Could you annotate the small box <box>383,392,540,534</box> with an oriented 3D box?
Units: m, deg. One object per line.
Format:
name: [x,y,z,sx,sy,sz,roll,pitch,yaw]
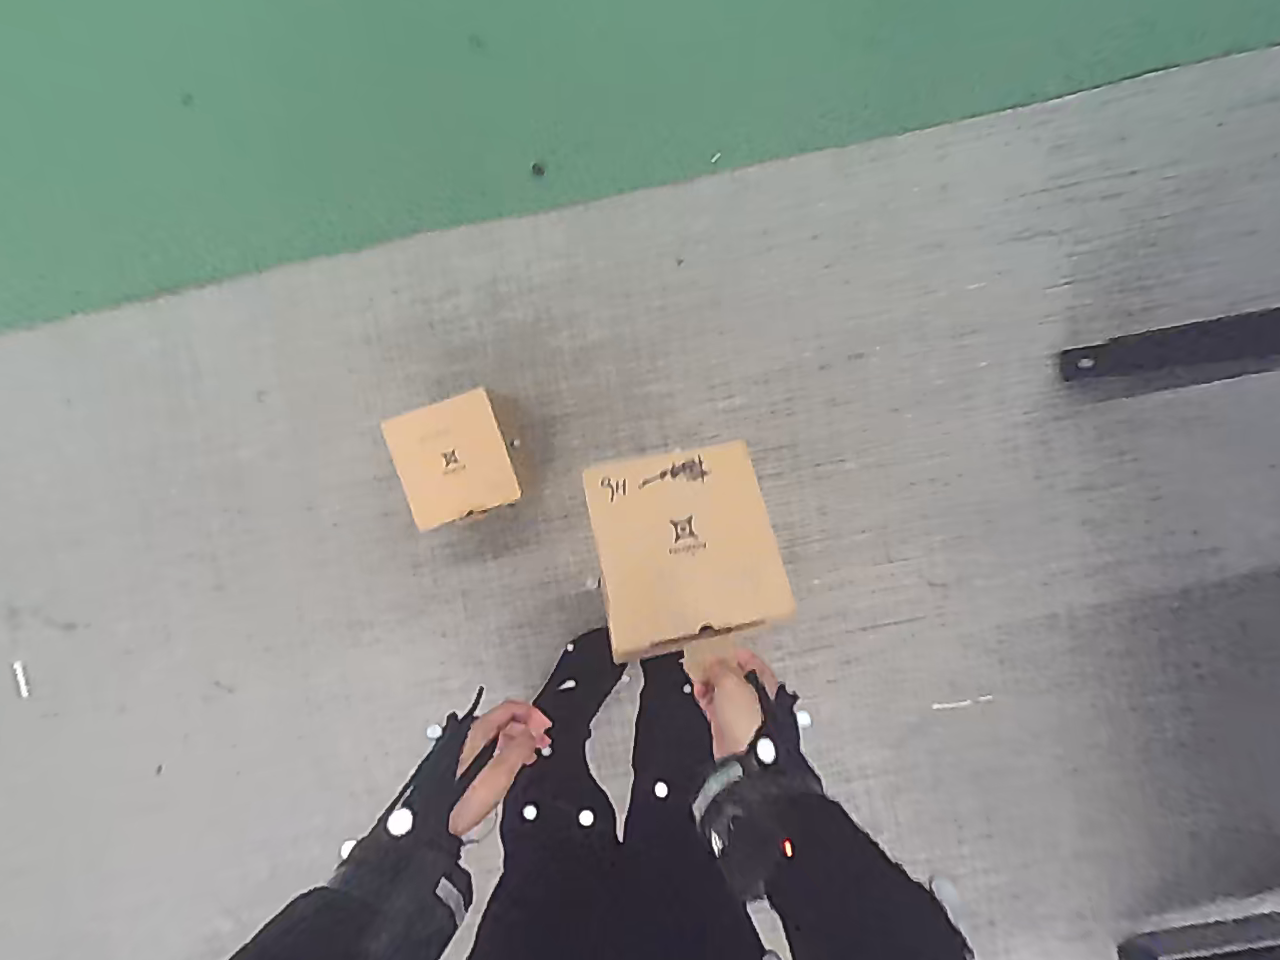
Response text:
small box: [-0.276,-0.031,0.881,0.168,0.176,0.179,-19,93,1]

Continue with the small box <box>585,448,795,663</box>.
small box: [0.039,0.087,0.563,0.168,0.176,0.179,-9,71,-6]
